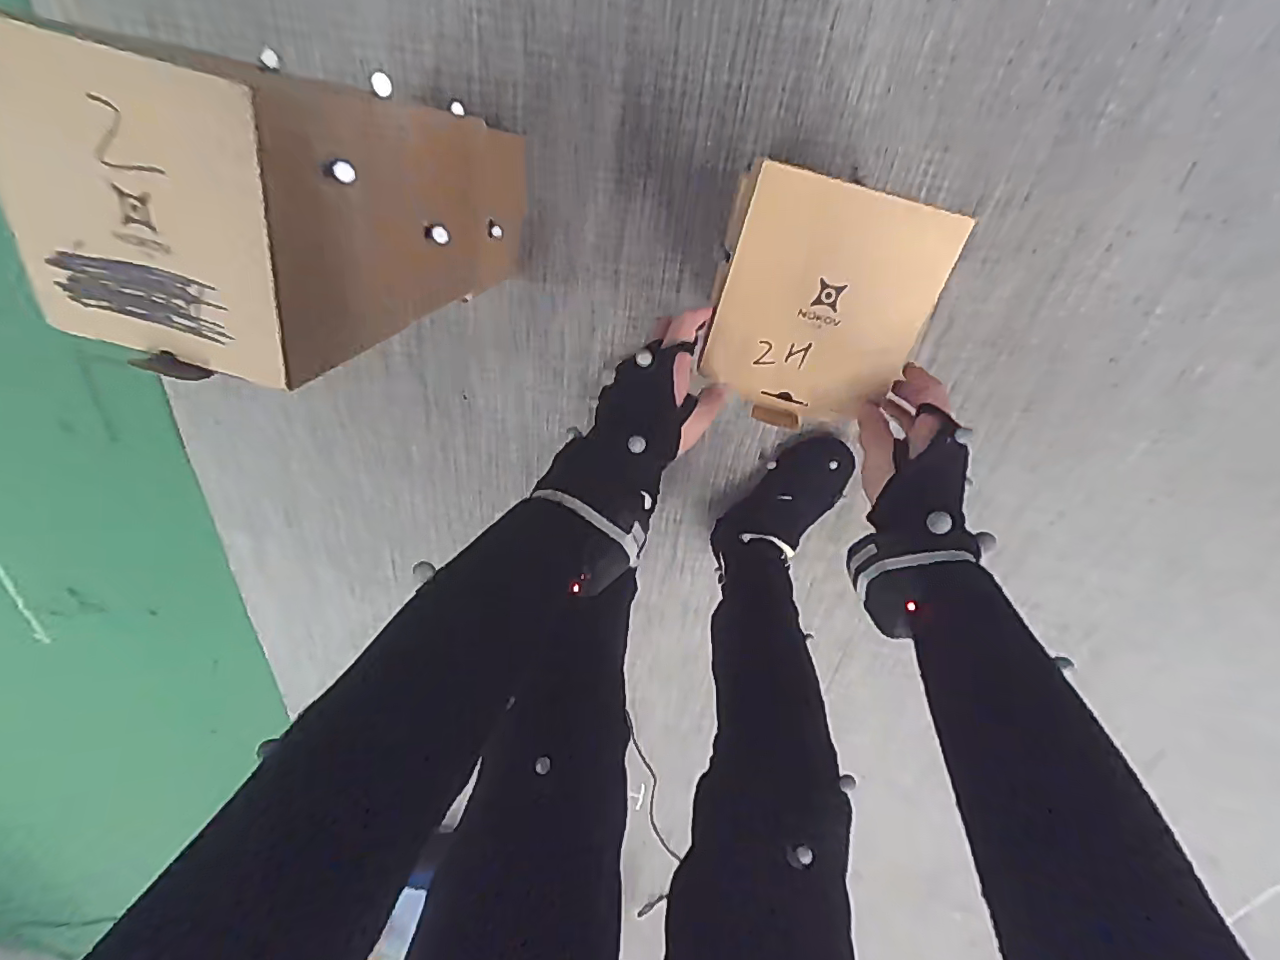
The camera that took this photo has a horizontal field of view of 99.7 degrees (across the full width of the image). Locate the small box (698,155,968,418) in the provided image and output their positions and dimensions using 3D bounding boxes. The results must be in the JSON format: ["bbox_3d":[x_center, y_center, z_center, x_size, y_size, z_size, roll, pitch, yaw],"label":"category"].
[{"bbox_3d":[0.160,-0.190,0.517,0.168,0.176,0.179,17,122,0],"label":"small box"}]

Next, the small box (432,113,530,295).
[{"bbox_3d":[-0.247,-0.356,0.679,0.168,0.176,0.179,15,120,0],"label":"small box"}]
